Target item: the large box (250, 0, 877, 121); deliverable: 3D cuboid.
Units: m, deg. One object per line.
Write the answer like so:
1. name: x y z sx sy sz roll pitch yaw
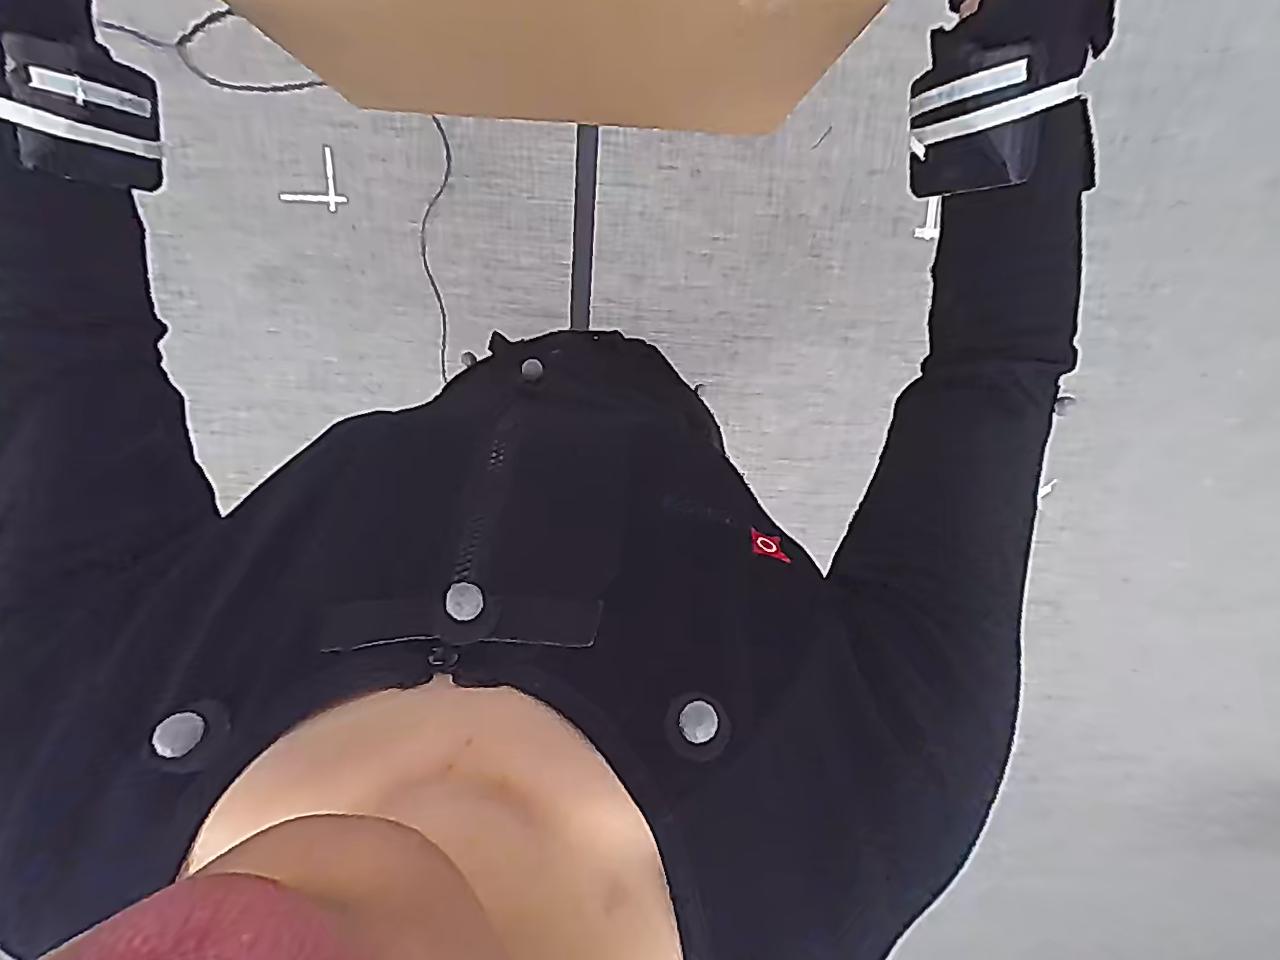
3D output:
1. large box: -0.051 -0.453 0.335 0.408 0.320 0.320 1 108 -4
